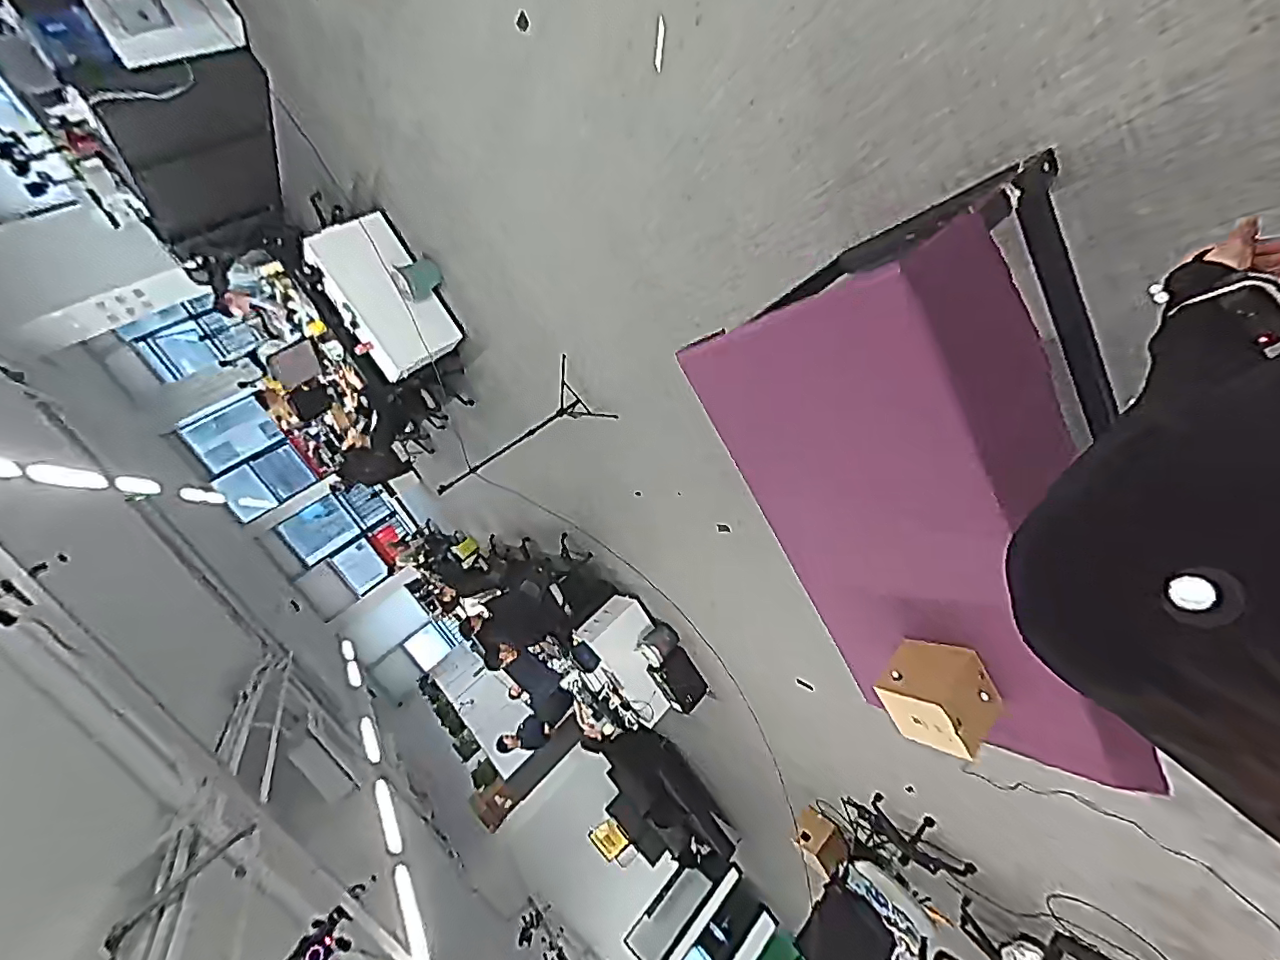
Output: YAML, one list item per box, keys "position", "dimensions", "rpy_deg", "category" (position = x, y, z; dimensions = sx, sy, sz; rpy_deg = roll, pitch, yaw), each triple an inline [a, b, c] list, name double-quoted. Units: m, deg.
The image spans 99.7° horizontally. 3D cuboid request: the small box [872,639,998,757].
- position: [0.688, 0.496, 1.262]
  dimensions: [0.168, 0.176, 0.179]
  rpy_deg: [56, 153, -12]
  category: "small box"
